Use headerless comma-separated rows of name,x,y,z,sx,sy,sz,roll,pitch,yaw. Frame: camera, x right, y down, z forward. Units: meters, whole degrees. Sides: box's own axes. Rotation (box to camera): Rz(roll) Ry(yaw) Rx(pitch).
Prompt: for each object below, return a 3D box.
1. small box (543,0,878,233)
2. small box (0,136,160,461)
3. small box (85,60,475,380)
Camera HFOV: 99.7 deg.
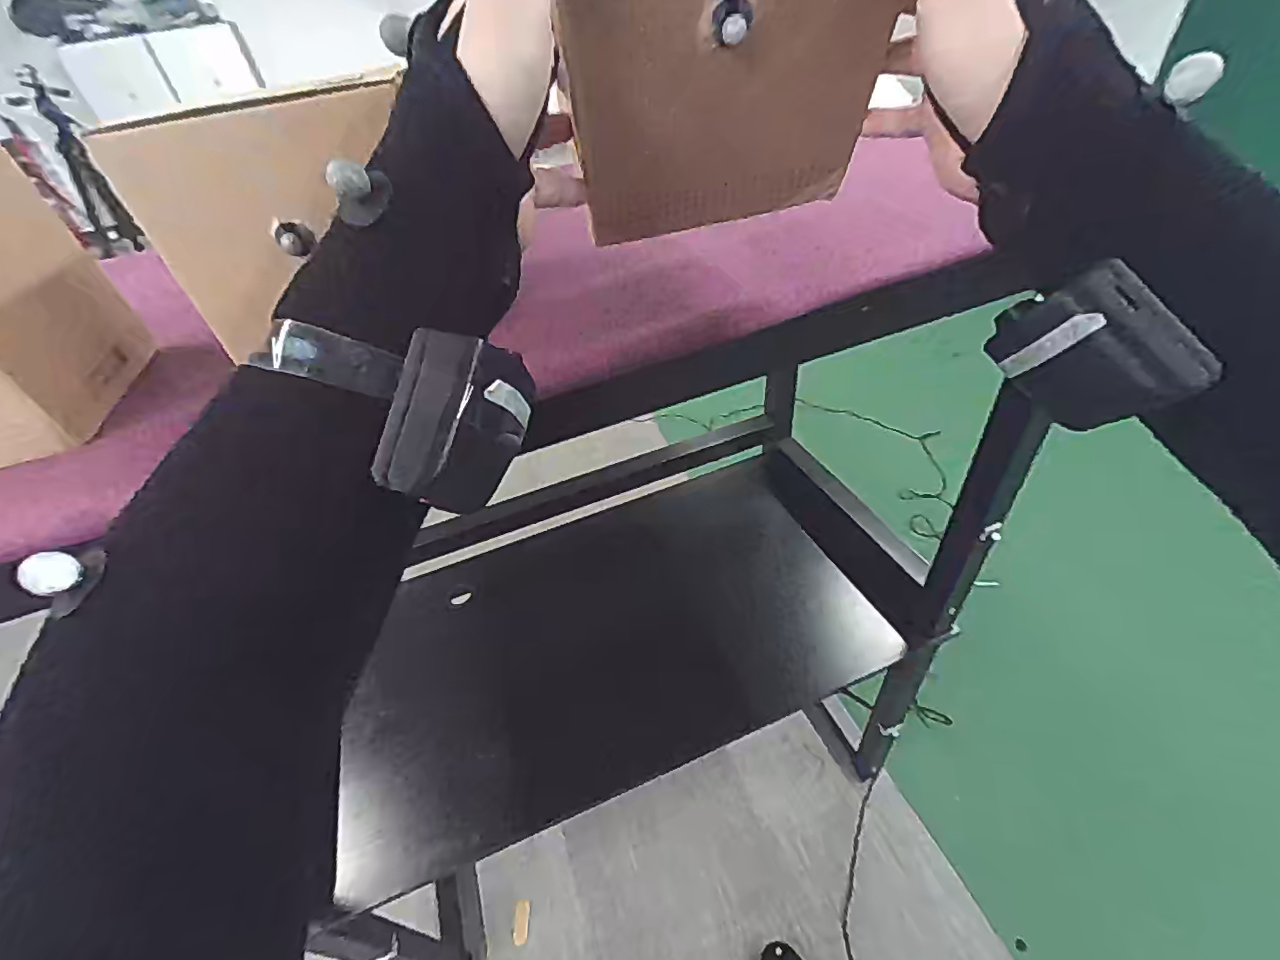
small box,0.032,-0.283,0.335,0.179,0.176,0.168,-12,68,-2
small box,-0.497,-0.110,0.365,0.179,0.176,0.168,-18,44,-9
small box,-0.237,-0.203,0.420,0.179,0.176,0.168,-17,42,-7
